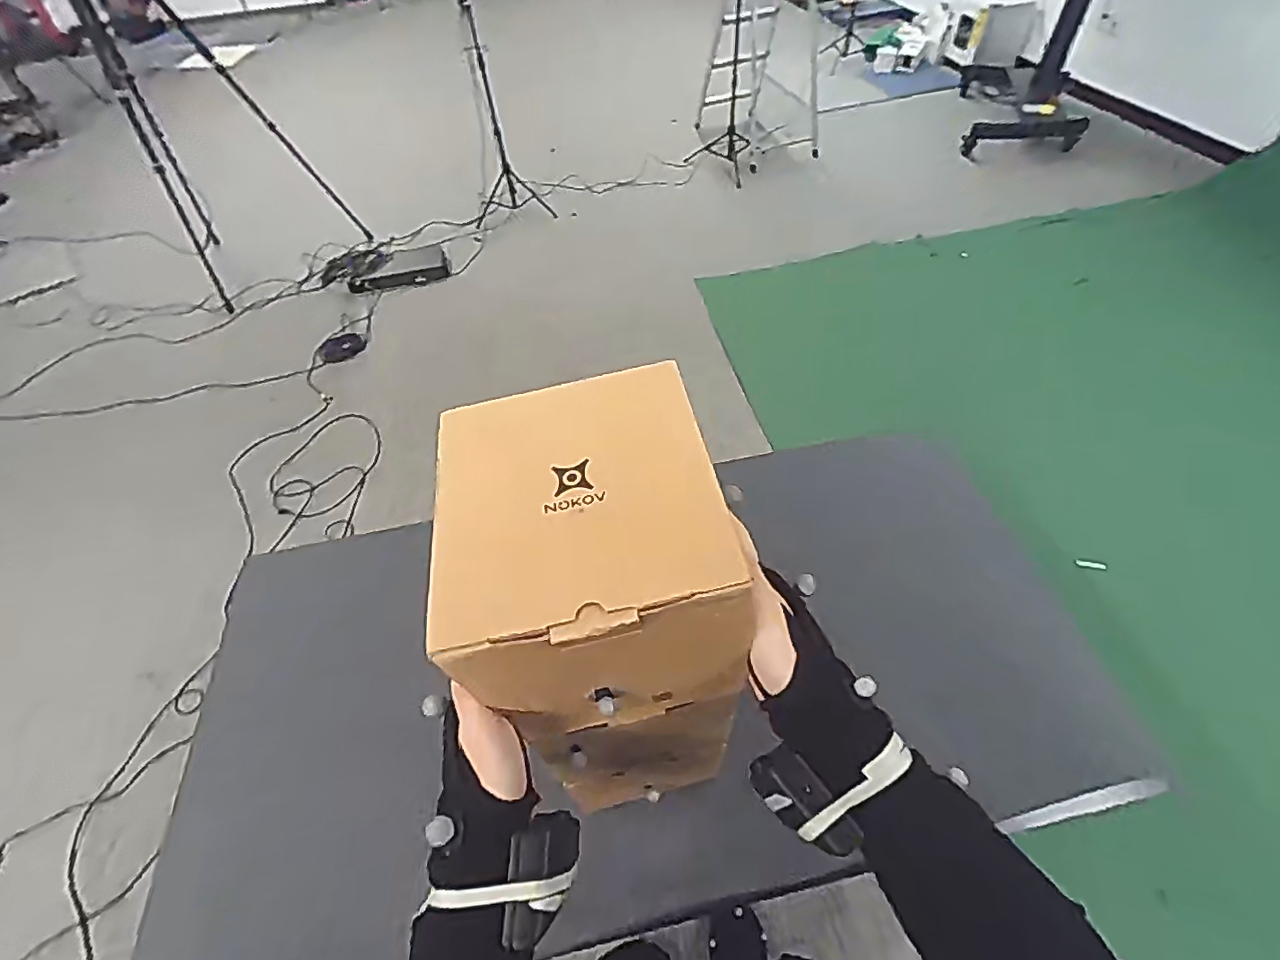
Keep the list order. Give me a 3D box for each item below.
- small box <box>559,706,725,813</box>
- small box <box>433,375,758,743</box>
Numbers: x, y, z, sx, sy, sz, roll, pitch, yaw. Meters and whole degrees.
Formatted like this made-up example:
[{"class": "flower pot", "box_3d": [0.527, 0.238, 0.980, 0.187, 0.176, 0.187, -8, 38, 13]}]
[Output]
[{"class": "small box", "box_3d": [-0.008, 0.271, 0.646, 0.168, 0.176, 0.179, -13, 52, -5]}, {"class": "small box", "box_3d": [-0.028, 0.059, 0.378, 0.168, 0.176, 0.179, -13, 52, -2]}]
